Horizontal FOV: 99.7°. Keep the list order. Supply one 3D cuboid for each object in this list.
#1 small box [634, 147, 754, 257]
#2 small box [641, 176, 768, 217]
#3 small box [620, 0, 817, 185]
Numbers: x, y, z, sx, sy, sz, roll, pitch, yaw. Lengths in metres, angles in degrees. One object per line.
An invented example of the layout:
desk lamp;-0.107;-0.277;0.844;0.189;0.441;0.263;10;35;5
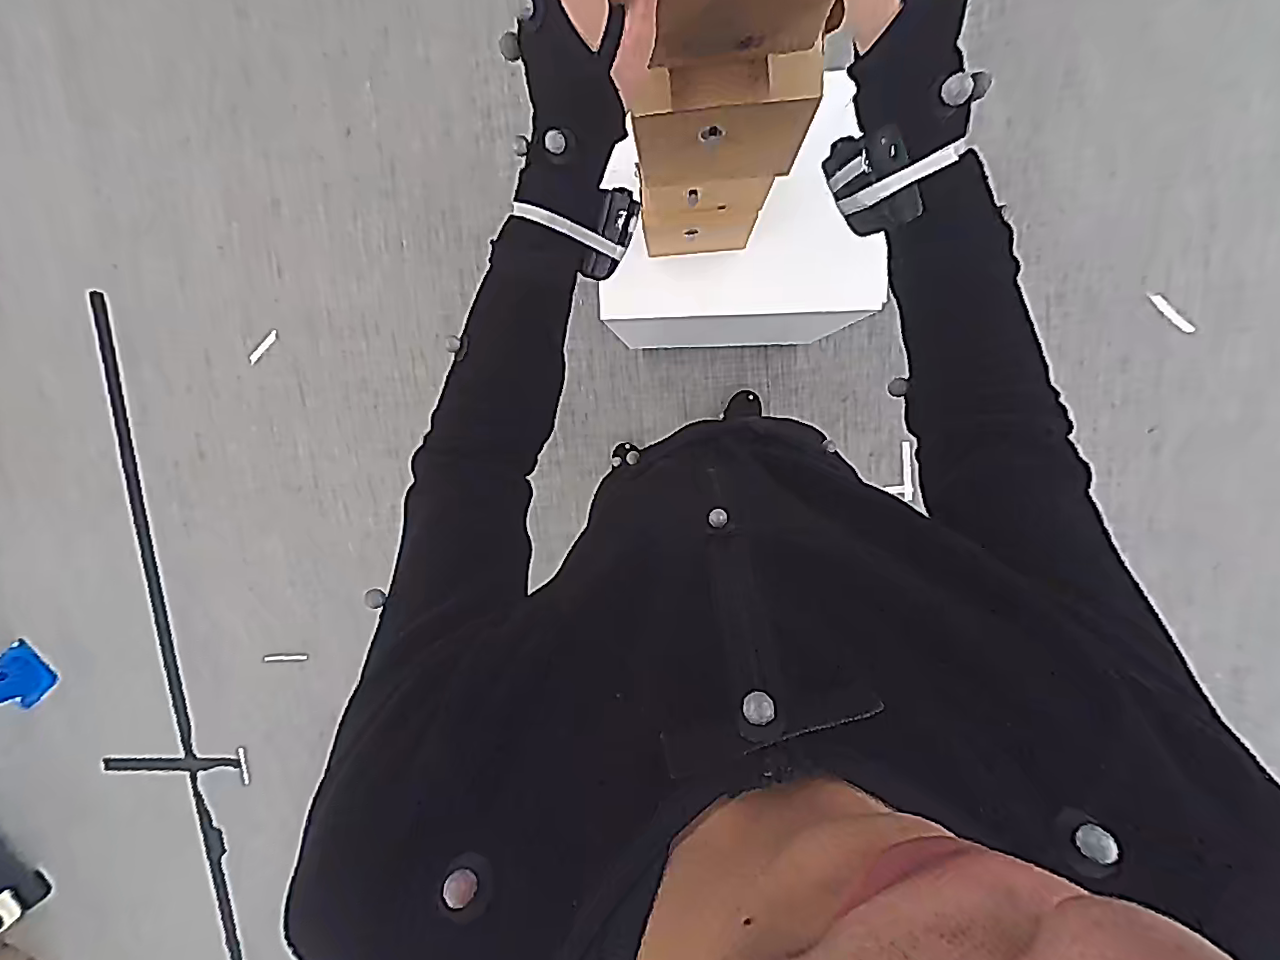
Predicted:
small box;0.086;-0.475;0.884;0.179;0.176;0.168;-3;98;4
small box;0.086;-0.467;0.721;0.168;0.176;0.179;-2;97;4
small box;0.076;-0.426;0.560;0.179;0.176;0.168;-2;98;4
